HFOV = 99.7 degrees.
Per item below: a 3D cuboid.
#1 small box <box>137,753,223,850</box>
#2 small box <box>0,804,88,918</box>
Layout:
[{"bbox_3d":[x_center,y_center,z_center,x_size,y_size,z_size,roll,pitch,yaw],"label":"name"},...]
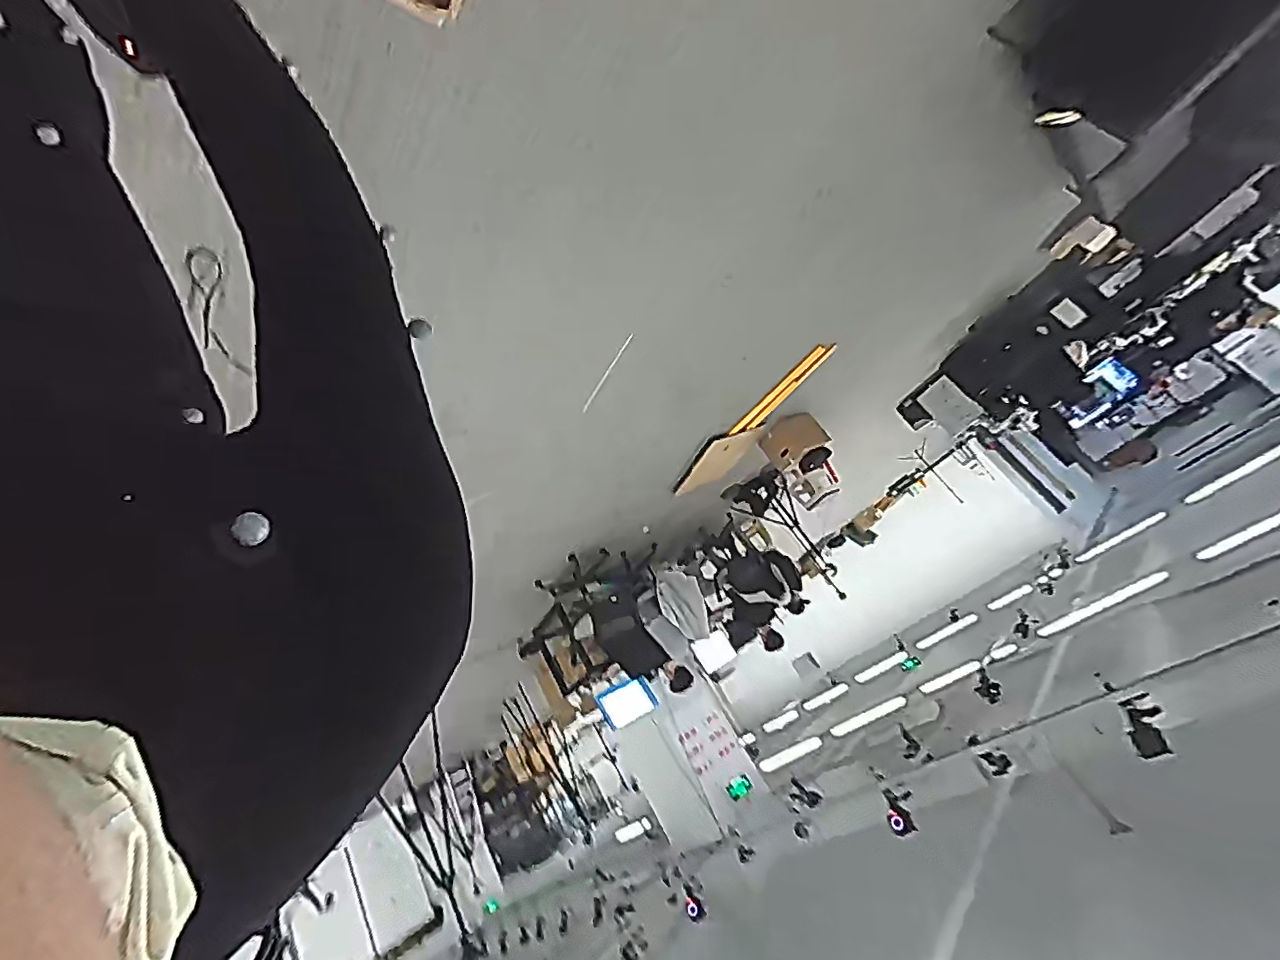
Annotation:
[{"bbox_3d":[-1.343,0.931,1.579,0.168,0.176,0.179,-10,149,-45],"label":"small box"},{"bbox_3d":[-1.539,0.963,1.375,0.168,0.176,0.179,-12,148,-45],"label":"small box"}]
